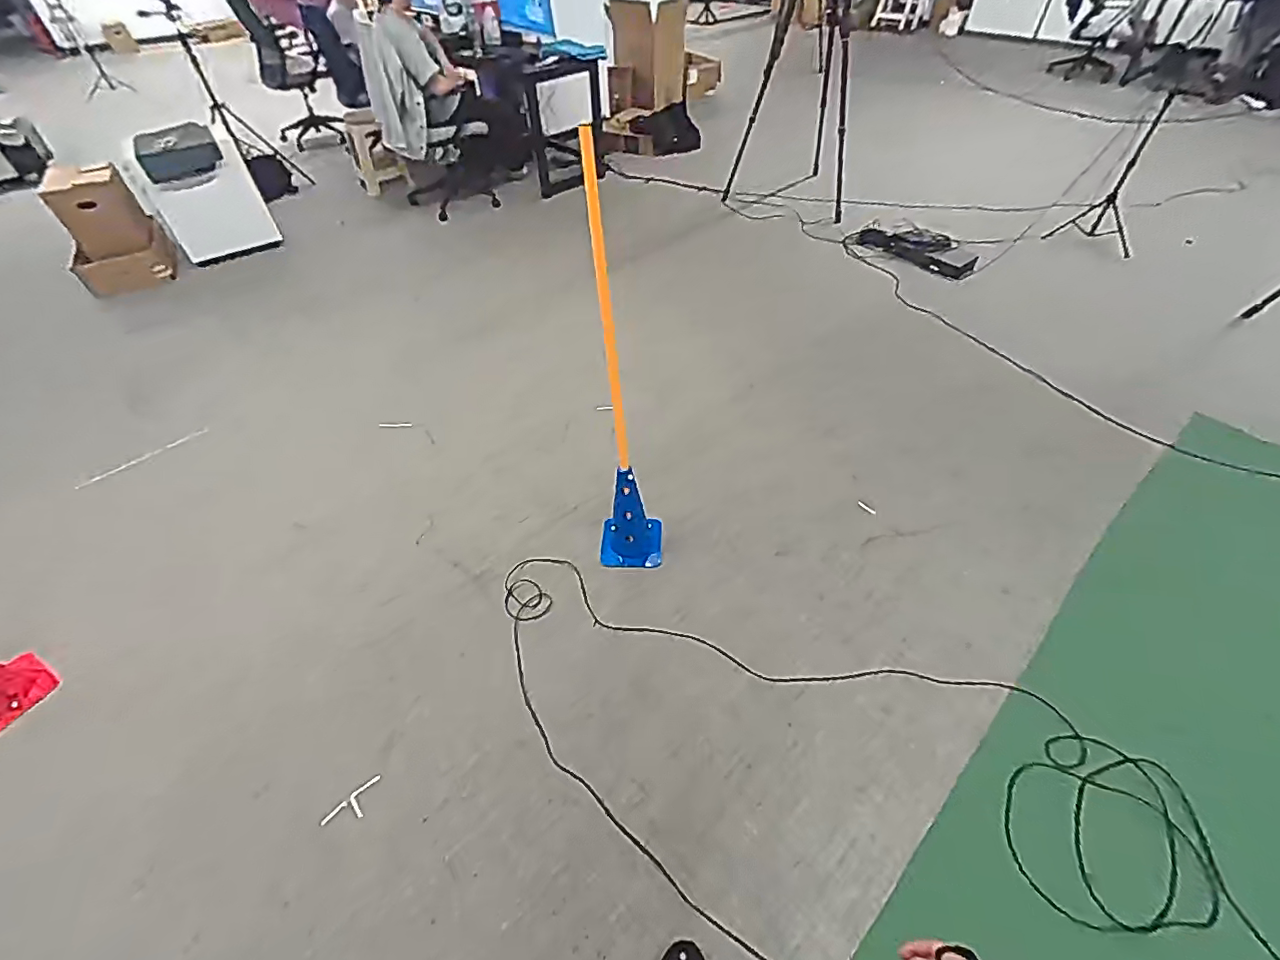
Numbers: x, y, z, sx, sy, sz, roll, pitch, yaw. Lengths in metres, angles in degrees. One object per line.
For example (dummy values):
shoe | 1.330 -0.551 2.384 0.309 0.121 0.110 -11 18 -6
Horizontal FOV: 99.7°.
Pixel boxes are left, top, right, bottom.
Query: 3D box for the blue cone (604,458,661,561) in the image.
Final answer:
blue cone | -0.031 0.078 1.689 0.192 0.380 0.193 -1 45 3
